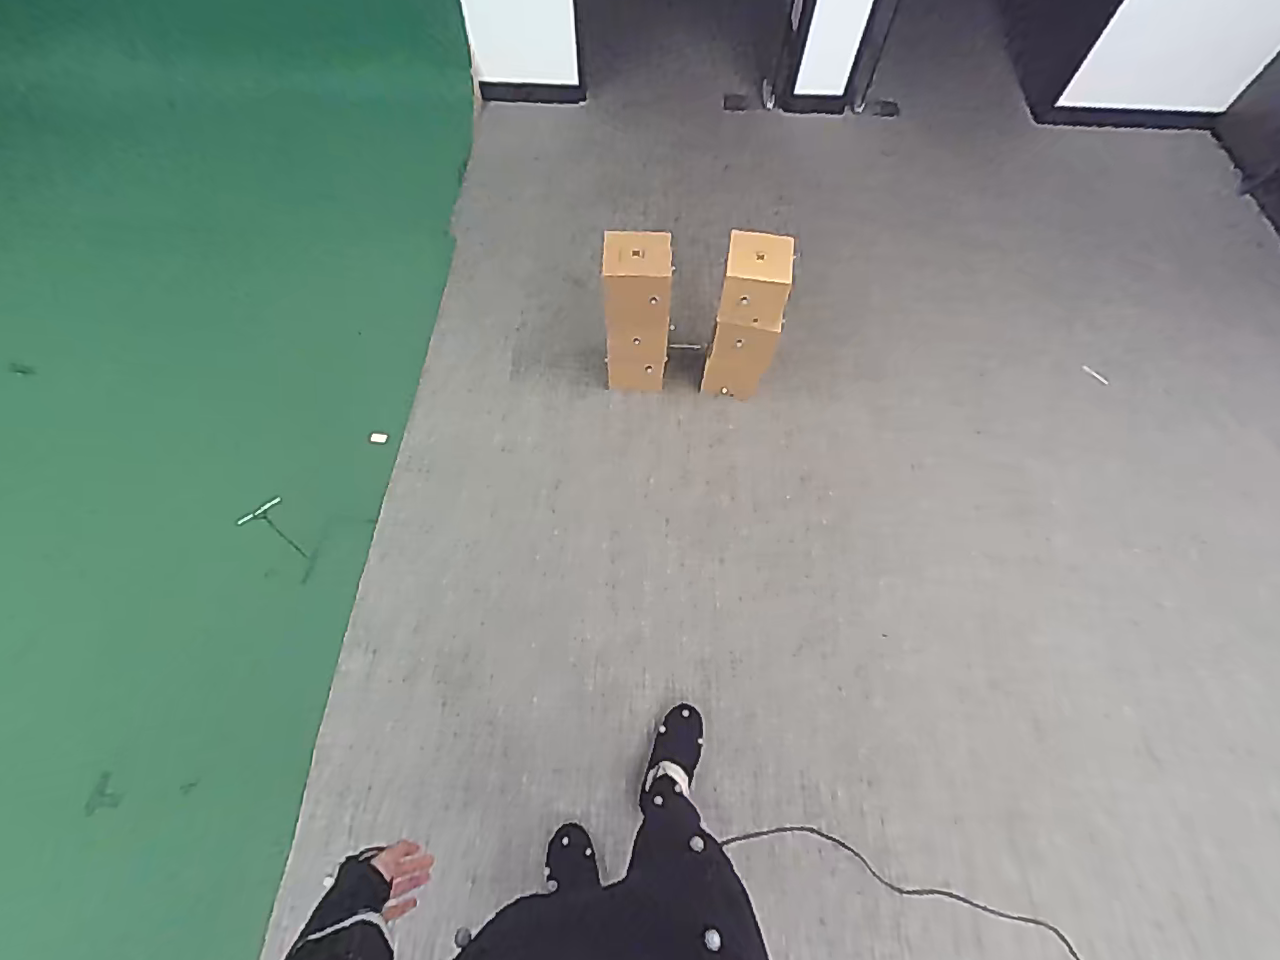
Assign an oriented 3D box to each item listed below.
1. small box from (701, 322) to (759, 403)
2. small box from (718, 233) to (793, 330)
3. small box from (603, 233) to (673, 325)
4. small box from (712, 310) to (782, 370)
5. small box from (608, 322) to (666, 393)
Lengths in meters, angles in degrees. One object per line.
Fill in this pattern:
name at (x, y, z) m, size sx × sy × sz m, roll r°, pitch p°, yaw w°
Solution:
small box at (0.295, -0.378, 1.746) m, size 0.168 × 0.176 × 0.179 m, roll 11°, pitch 64°, yaw 5°
small box at (0.306, -0.529, 1.457) m, size 0.168 × 0.176 × 0.179 m, roll 9°, pitch 63°, yaw 3°
small box at (-0.006, -0.534, 1.448) m, size 0.179 × 0.176 × 0.168 m, roll 1°, pitch 62°, yaw 0°
small box at (0.314, -0.448, 1.598) m, size 0.179 × 0.176 × 0.168 m, roll 11°, pitch 63°, yaw 5°
small box at (-0.010, -0.395, 1.746) m, size 0.179 × 0.176 × 0.168 m, roll 2°, pitch 62°, yaw 0°
